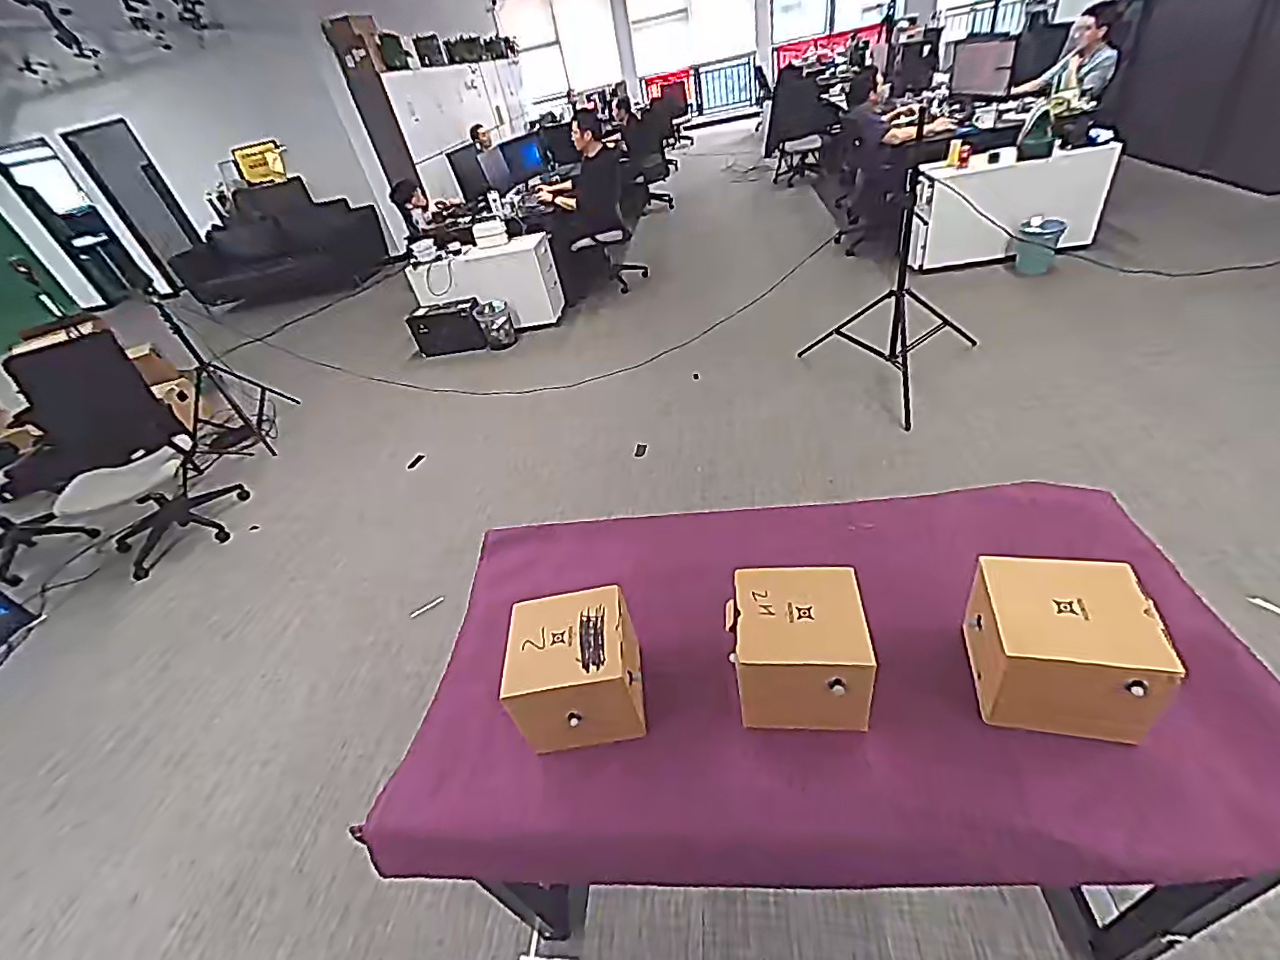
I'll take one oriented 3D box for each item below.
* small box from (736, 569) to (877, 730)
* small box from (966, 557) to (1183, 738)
[{"bbox_3d":[0.236,0.250,0.800,0.179,0.176,0.168,-4,38,12],"label":"small box"},{"bbox_3d":[0.559,0.224,0.732,0.179,0.176,0.168,1,39,18],"label":"small box"}]
